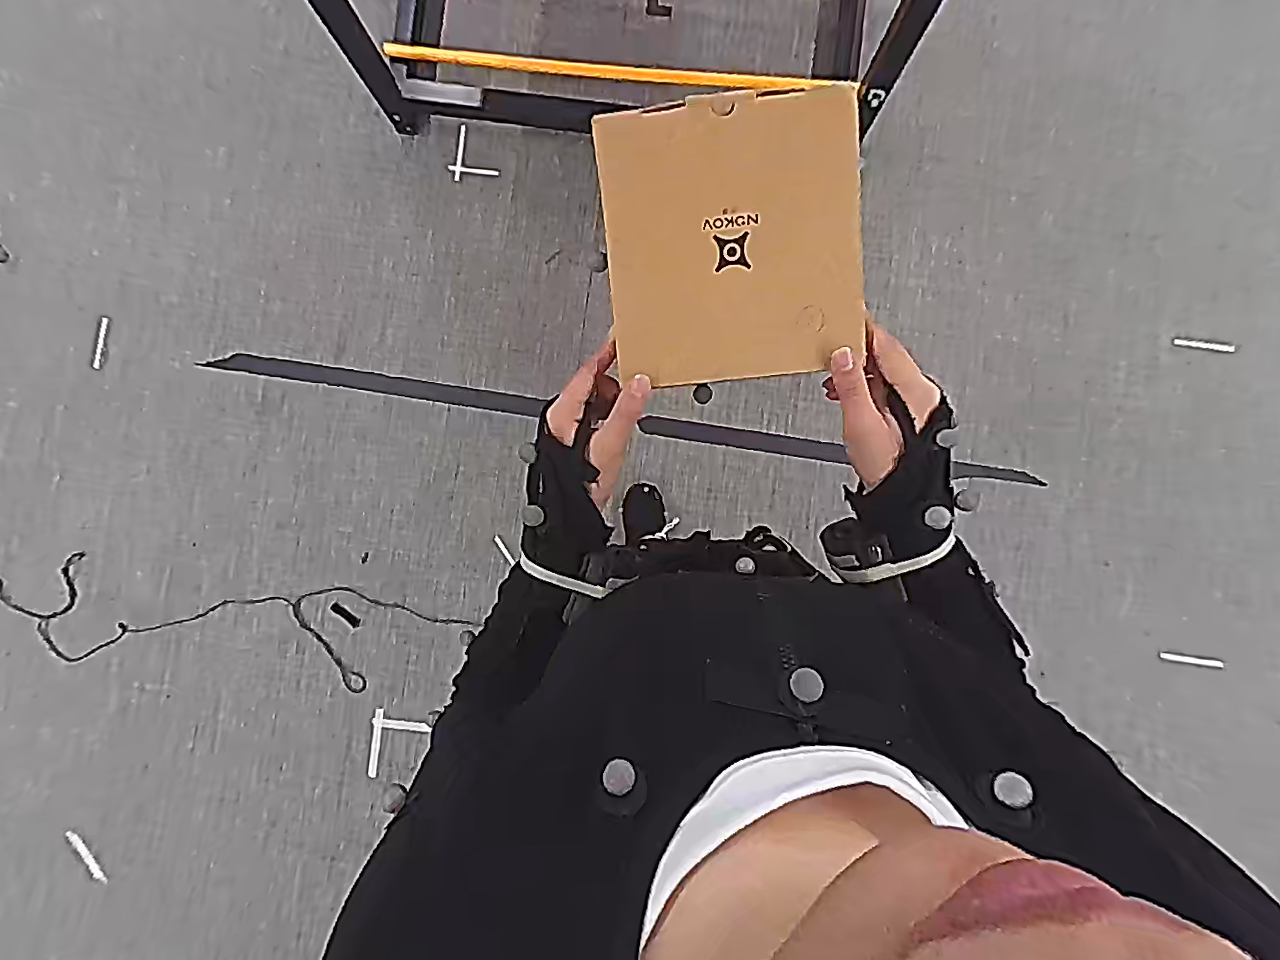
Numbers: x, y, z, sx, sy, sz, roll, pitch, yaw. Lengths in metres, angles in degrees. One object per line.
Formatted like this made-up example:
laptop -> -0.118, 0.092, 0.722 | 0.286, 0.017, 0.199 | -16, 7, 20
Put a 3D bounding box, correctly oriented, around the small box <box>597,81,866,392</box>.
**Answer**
small box -> 0.067, -0.166, 0.430 | 0.168, 0.176, 0.179 | -6, 98, 5
